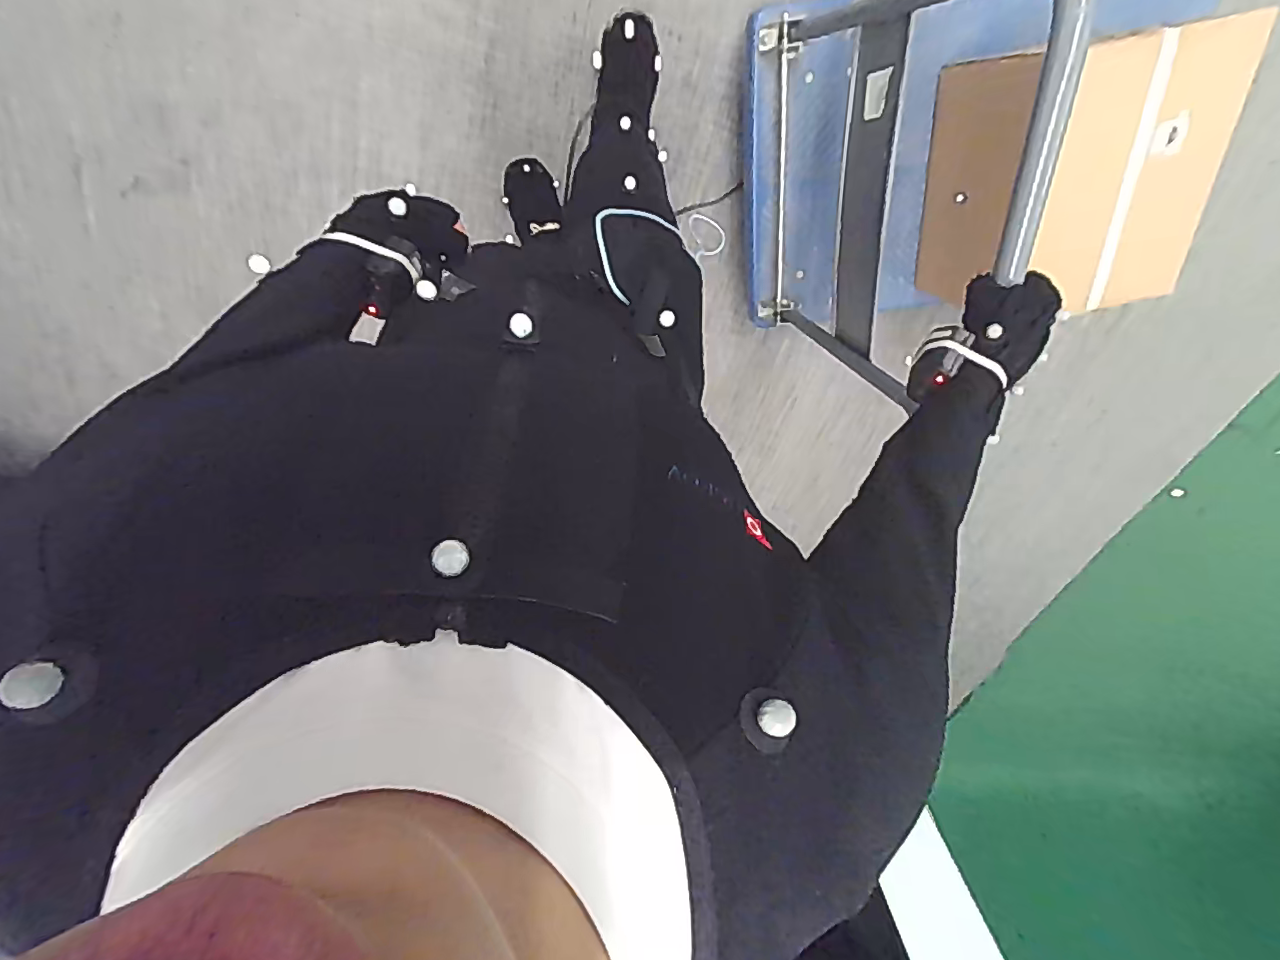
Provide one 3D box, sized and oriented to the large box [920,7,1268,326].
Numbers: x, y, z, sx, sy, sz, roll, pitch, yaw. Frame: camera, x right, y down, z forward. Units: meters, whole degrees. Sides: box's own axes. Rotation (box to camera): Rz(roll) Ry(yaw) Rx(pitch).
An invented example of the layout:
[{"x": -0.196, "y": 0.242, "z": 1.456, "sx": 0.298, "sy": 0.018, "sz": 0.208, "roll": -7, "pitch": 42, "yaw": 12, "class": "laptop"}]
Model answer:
[{"x": 0.752, "y": -0.549, "z": 0.989, "sx": 0.320, "sy": 0.320, "sz": 0.408, "roll": -12, "pitch": 124, "yaw": 1, "class": "large box"}]
